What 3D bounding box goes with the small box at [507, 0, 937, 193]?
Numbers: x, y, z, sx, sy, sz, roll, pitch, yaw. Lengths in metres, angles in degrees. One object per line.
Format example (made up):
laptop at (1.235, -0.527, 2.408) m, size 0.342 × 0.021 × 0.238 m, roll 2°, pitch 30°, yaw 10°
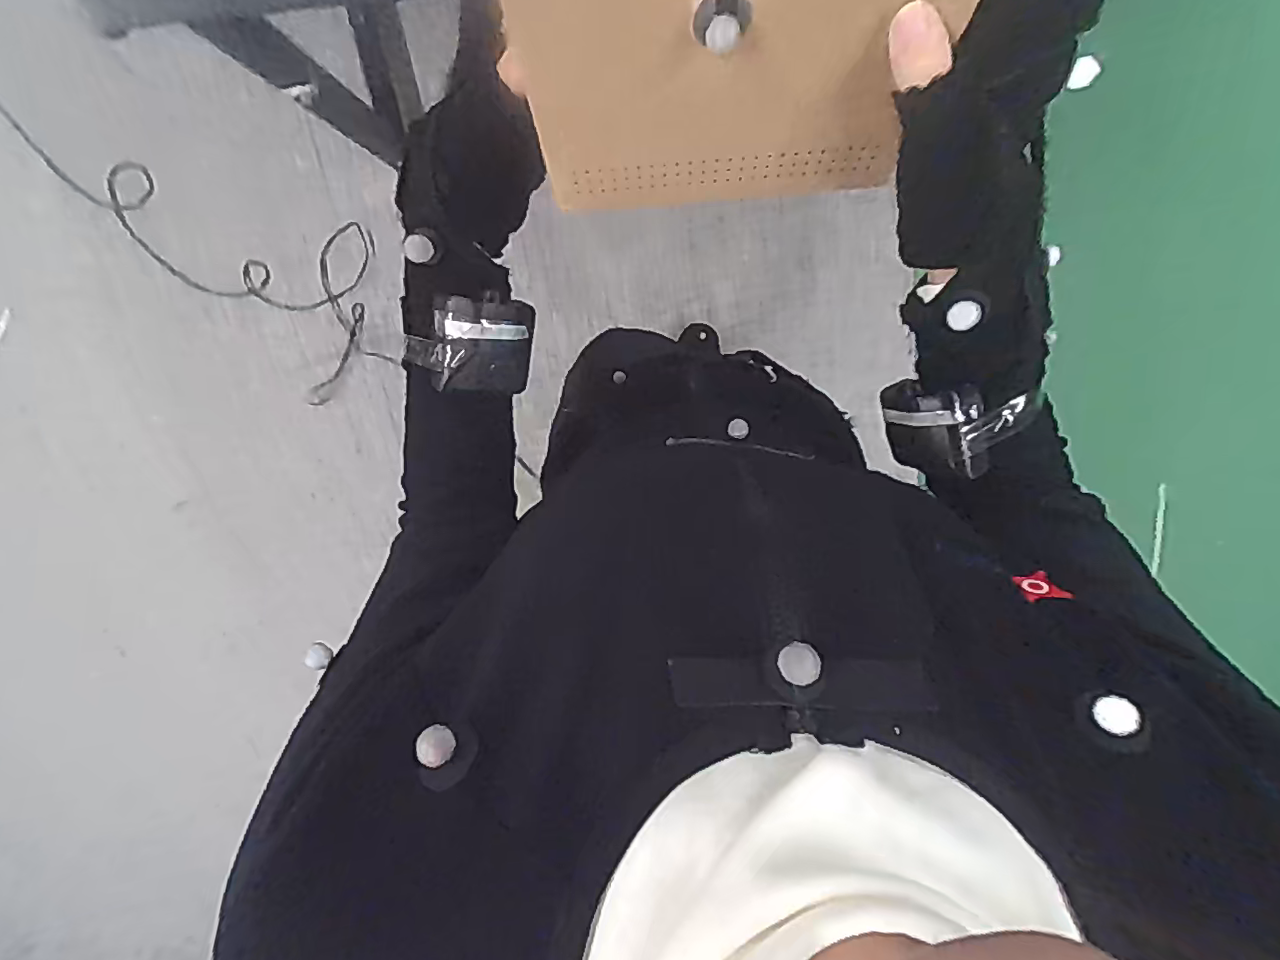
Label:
small box at (0.032, -0.259, 0.239) m, size 0.179 × 0.176 × 0.168 m, roll -4°, pitch 75°, yaw 3°
